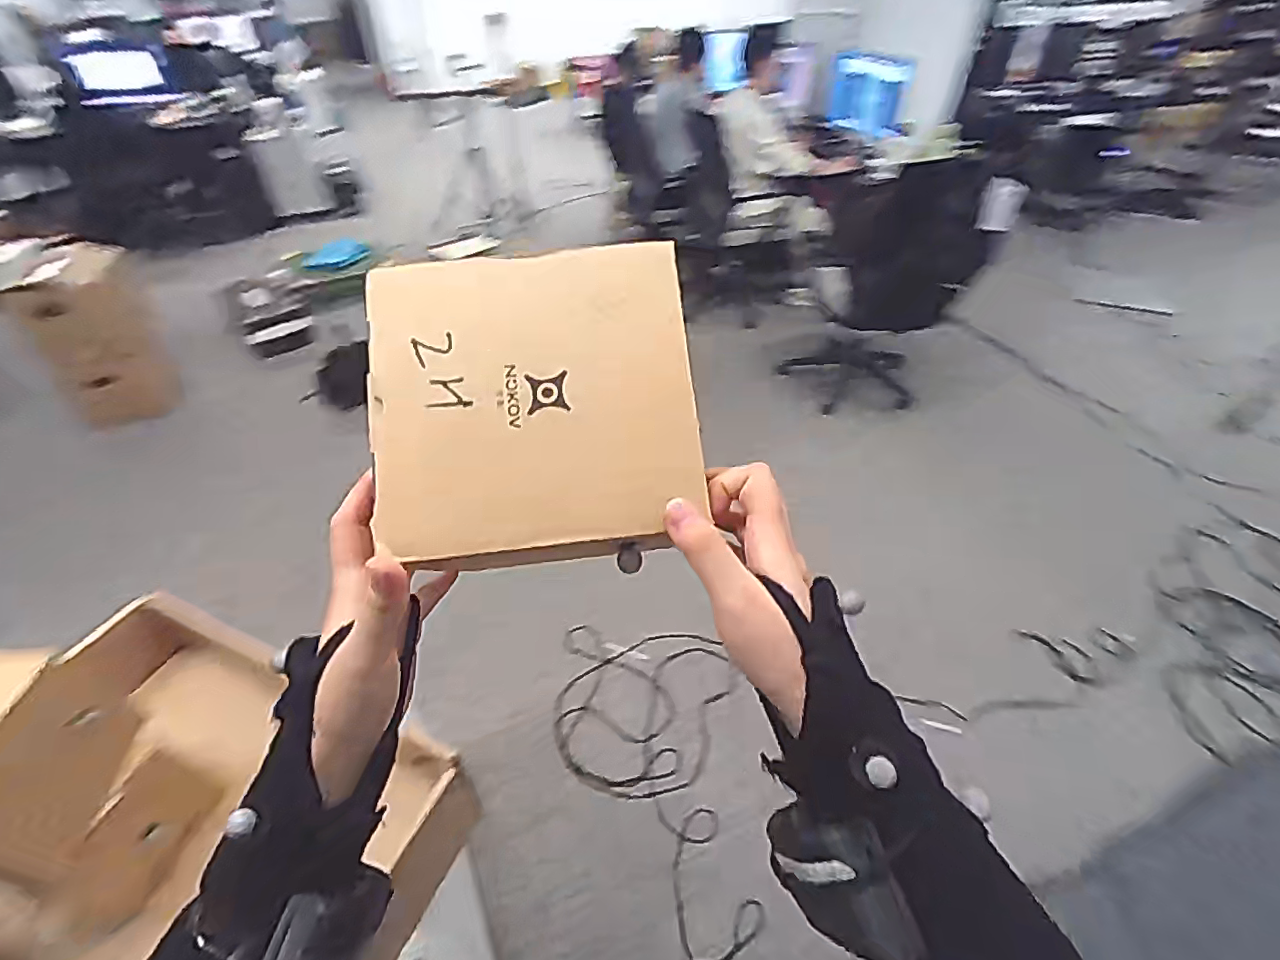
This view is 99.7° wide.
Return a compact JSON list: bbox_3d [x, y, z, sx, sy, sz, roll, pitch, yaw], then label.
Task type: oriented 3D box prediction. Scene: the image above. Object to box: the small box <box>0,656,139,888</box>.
[{"bbox_3d":[-0.697,0.310,0.570,0.168,0.176,0.179,-4,45,-2],"label":"small box"}]
